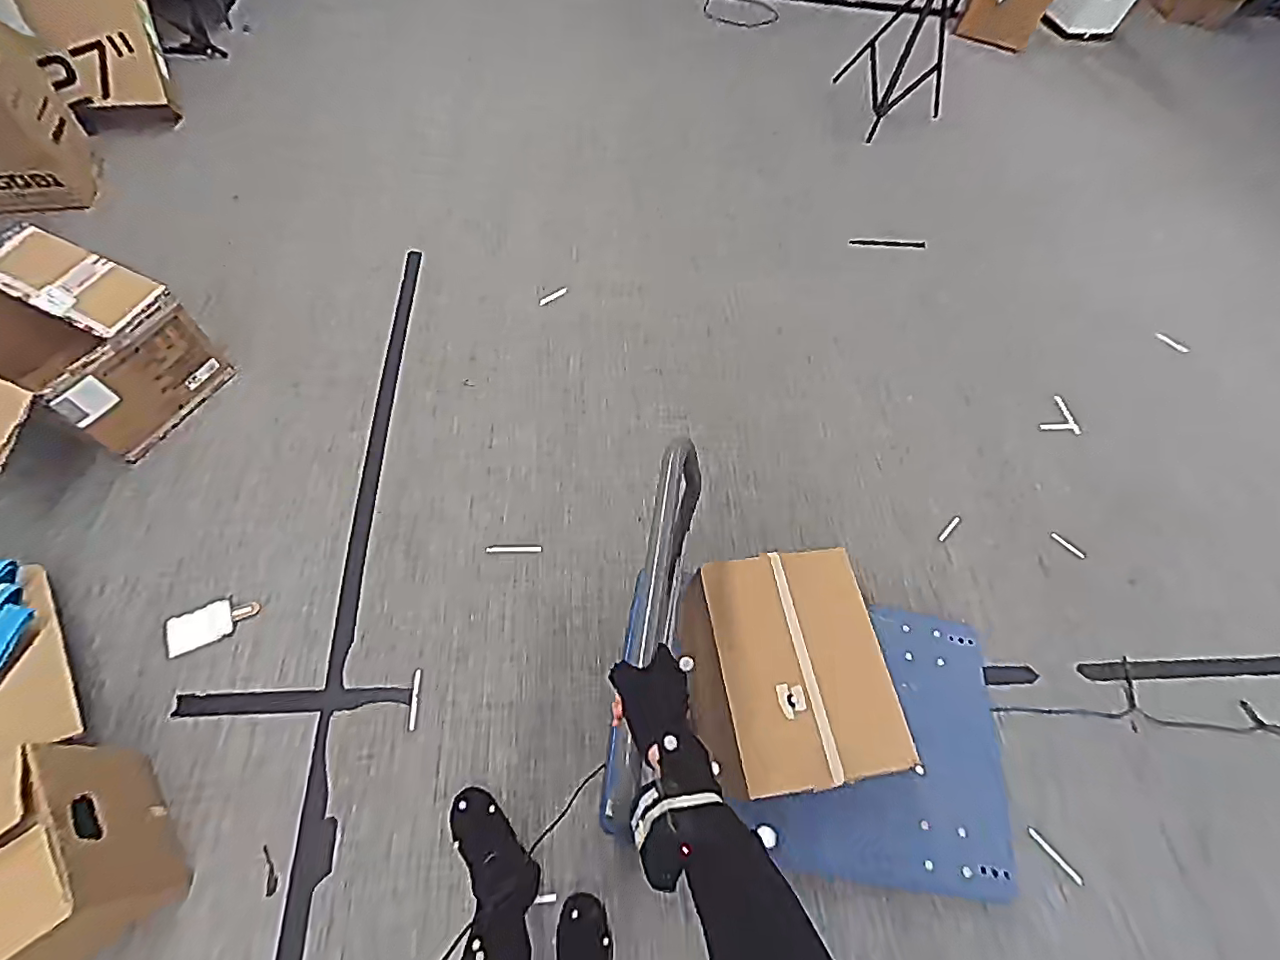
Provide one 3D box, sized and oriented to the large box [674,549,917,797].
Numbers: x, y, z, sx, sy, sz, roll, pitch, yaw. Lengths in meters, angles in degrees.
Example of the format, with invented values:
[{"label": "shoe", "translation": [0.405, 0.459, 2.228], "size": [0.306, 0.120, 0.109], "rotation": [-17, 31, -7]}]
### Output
[{"label": "large box", "translation": [0.278, 0.397, 1.122], "size": [0.320, 0.320, 0.408], "rotation": [-5, 62, -10]}]
